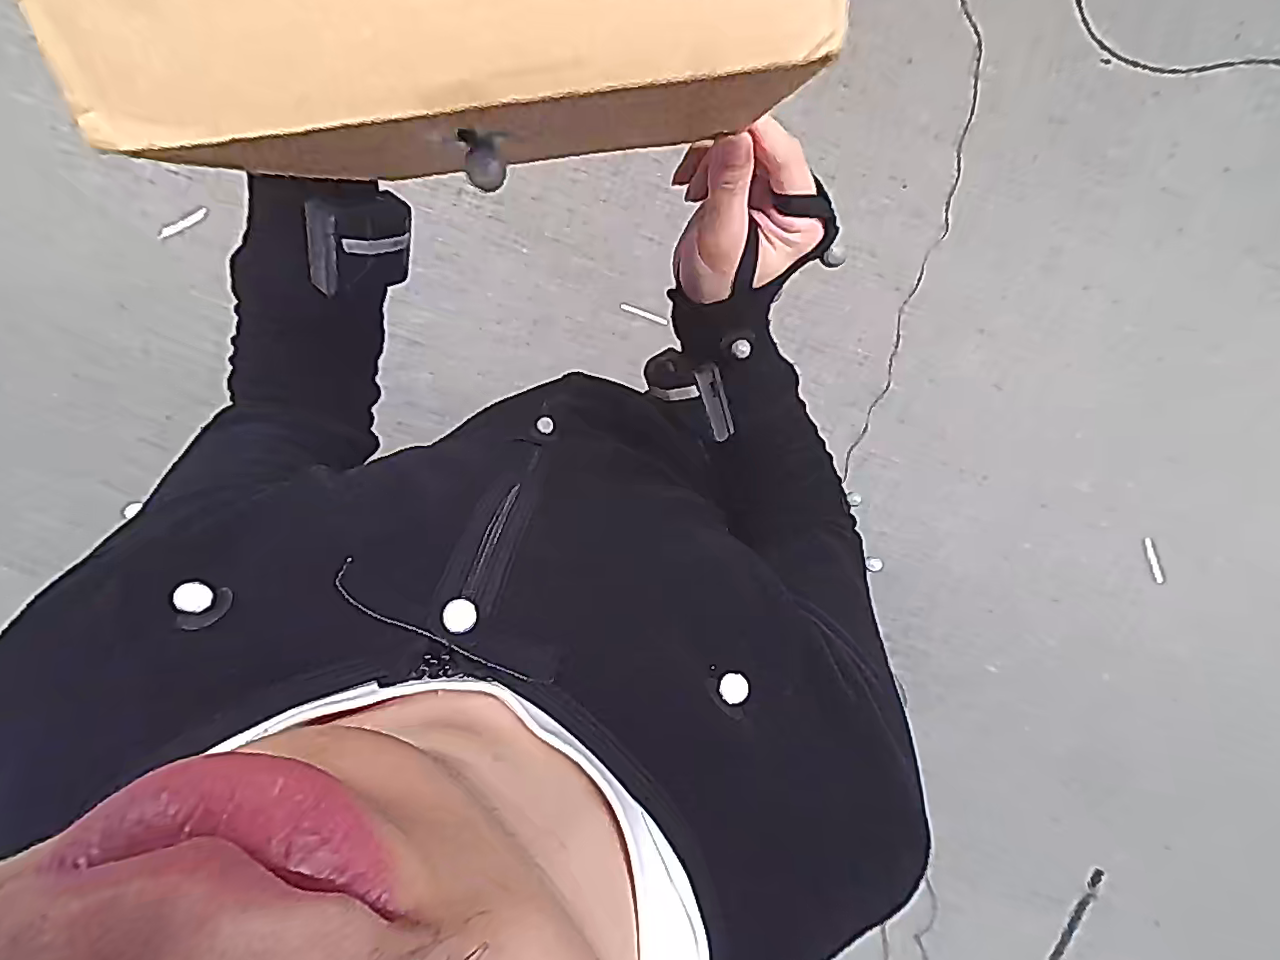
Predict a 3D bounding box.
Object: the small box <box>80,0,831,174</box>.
[{"bbox_3d":[-0.048,-0.201,0.168,0.179,0.176,0.168,-6,117,4],"label":"small box"}]
